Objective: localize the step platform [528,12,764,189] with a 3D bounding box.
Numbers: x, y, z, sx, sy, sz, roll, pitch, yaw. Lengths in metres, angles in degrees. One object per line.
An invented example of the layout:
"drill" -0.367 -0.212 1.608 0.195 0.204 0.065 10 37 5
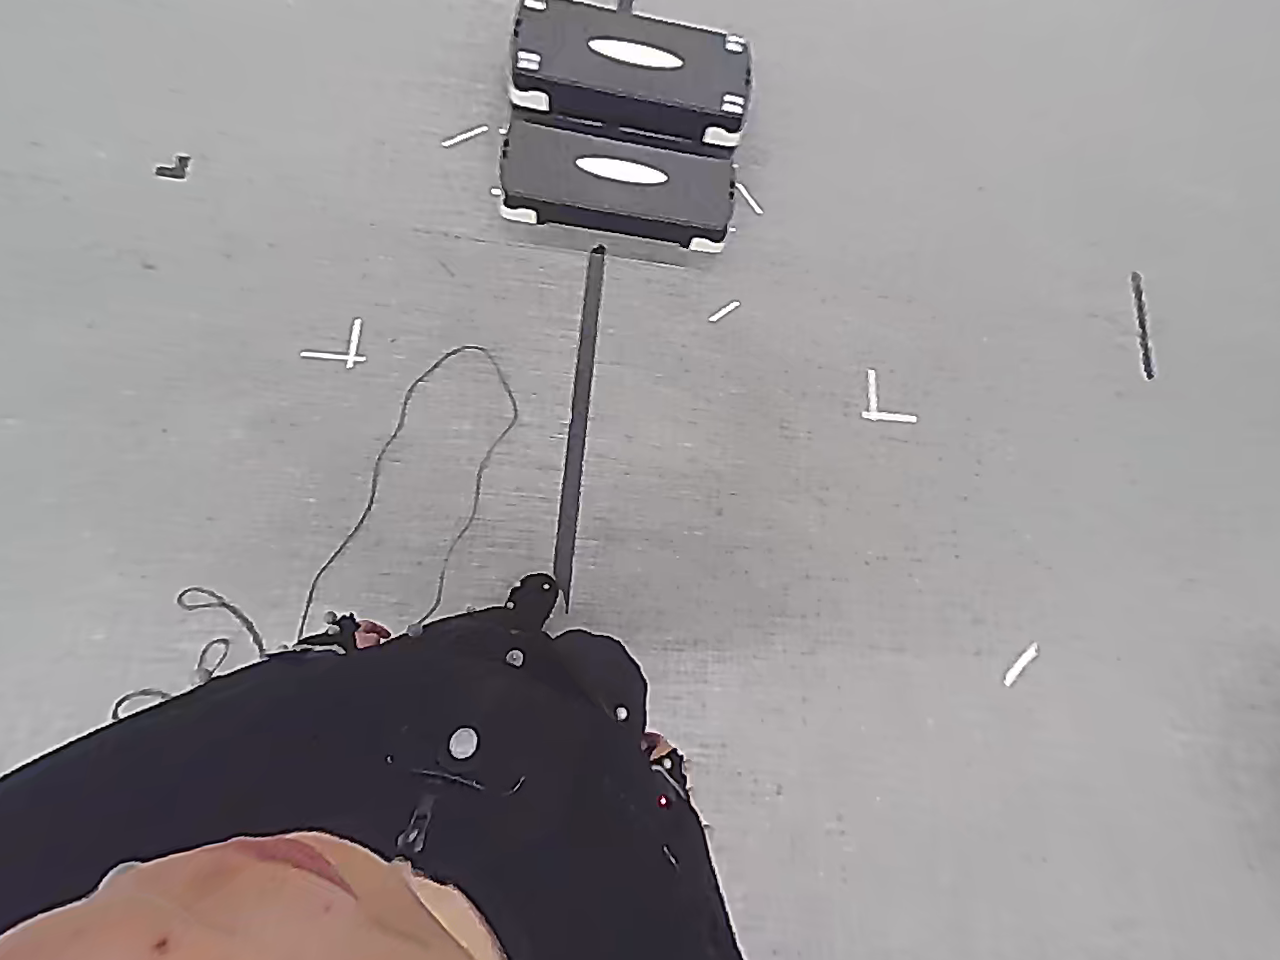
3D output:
"step platform" 0.020 -1.112 1.601 0.684 0.204 0.286 11 77 -7
